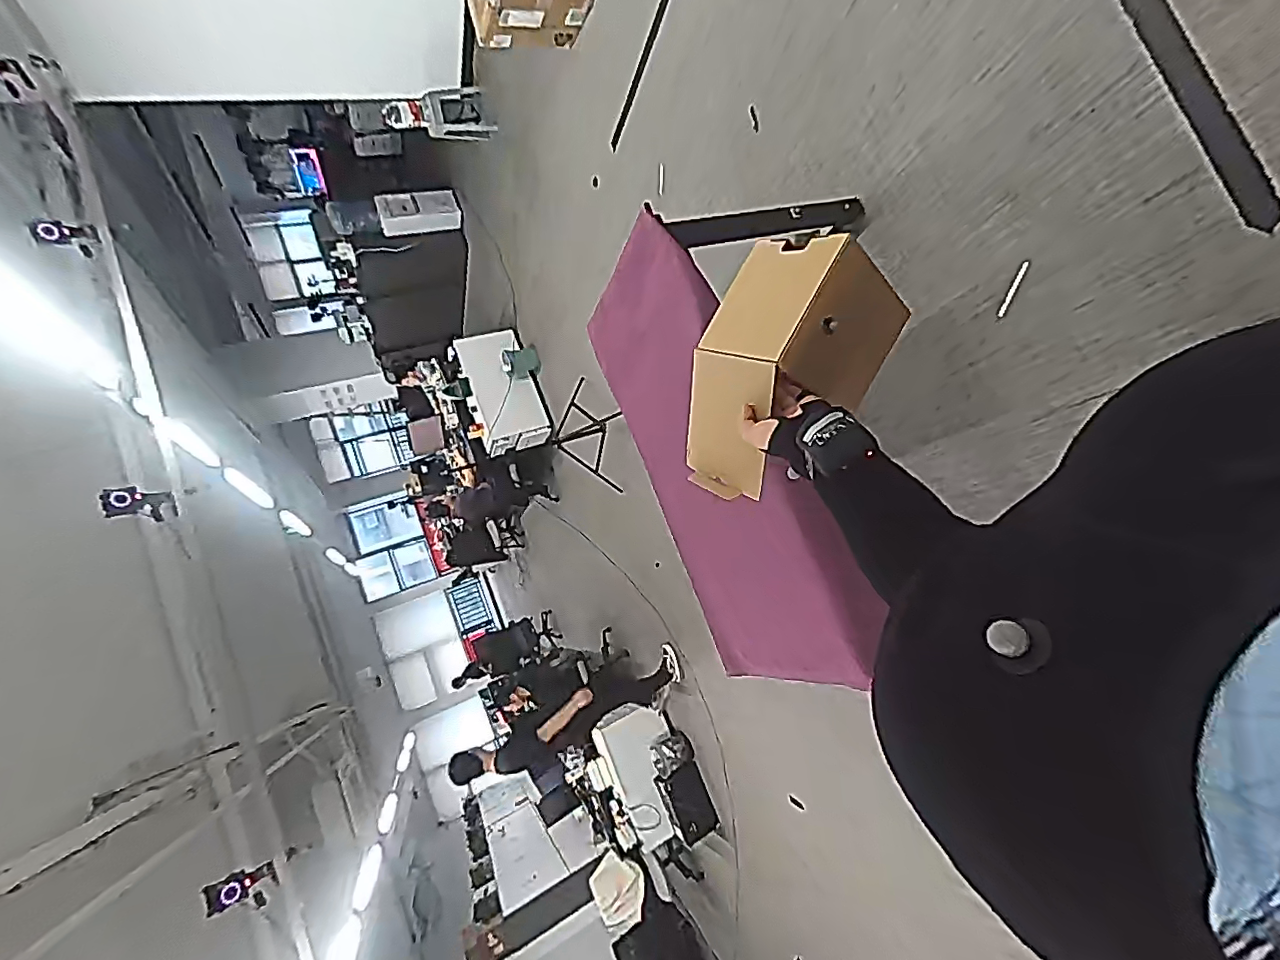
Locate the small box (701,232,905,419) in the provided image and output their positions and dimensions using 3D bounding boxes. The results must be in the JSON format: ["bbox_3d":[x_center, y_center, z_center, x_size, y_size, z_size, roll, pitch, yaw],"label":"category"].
[{"bbox_3d":[0.222,-0.205,0.736,0.179,0.176,0.168,-60,35,2],"label":"small box"}]
